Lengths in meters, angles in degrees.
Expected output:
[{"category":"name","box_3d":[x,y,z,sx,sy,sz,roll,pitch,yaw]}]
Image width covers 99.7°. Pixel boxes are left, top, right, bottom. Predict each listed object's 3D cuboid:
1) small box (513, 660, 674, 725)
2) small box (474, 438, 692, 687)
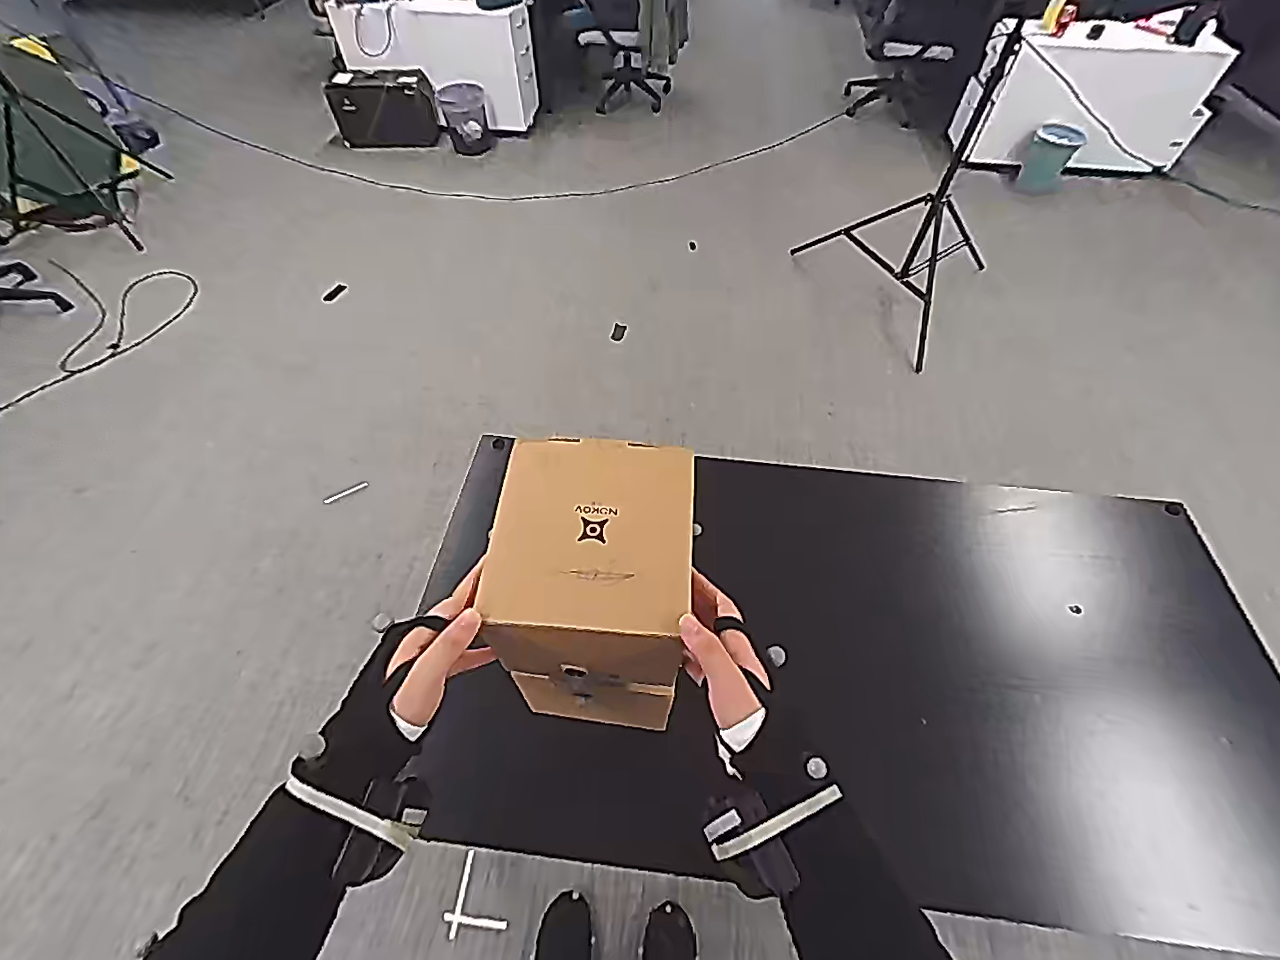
[{"category":"small box","box_3d":[-0.043,0.198,0.685,0.179,0.176,0.168,7,54,3]},{"category":"small box","box_3d":[-0.042,0.083,0.521,0.168,0.176,0.179,4,56,1]}]
